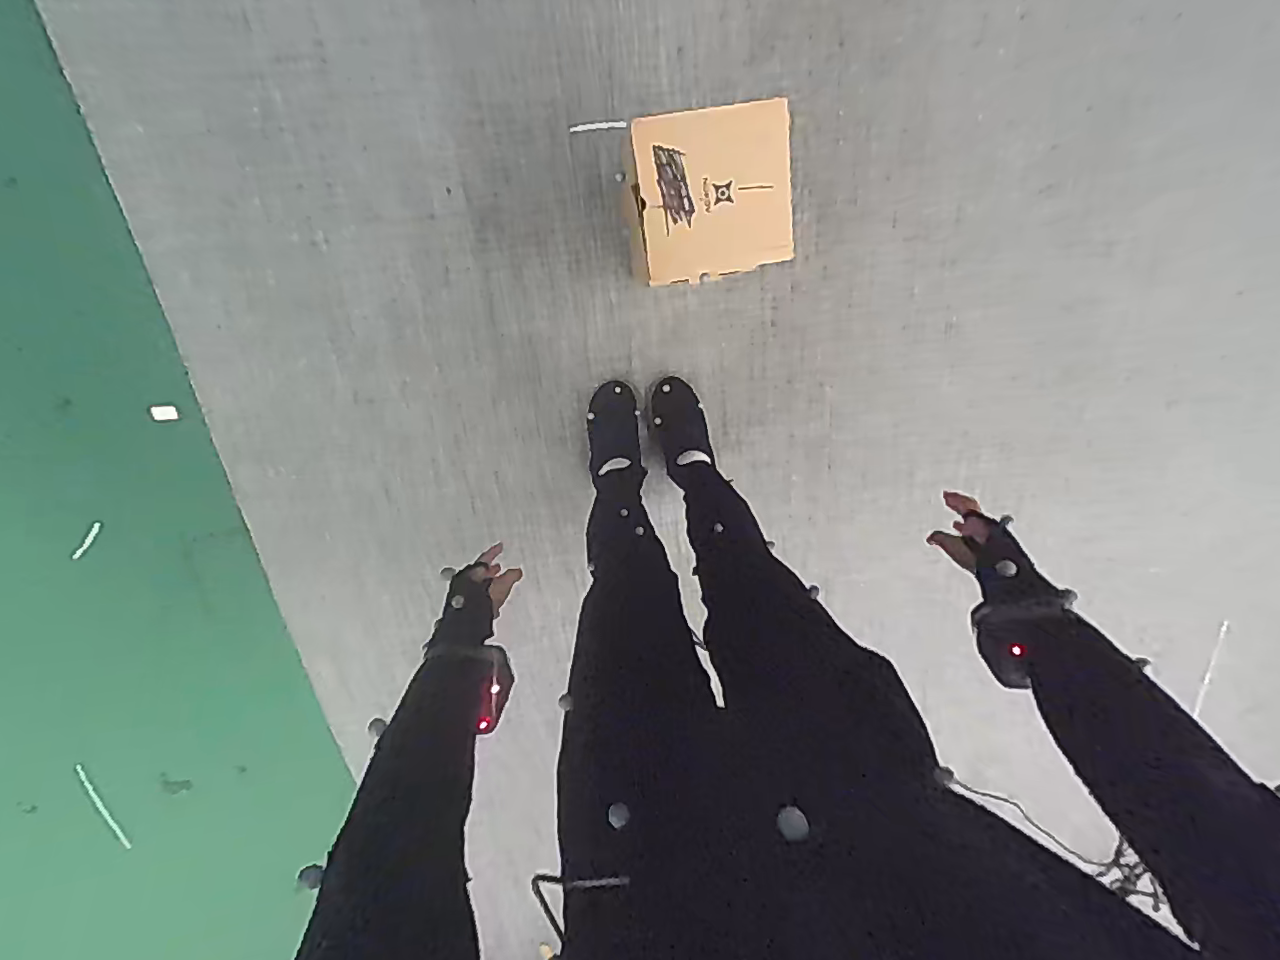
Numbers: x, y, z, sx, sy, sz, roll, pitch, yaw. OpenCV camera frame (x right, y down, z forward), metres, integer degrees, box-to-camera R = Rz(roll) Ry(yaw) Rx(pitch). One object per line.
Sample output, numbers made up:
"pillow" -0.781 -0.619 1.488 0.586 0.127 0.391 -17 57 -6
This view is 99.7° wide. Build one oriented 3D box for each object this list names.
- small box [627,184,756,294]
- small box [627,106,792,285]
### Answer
"small box" 0.075 -0.394 0.839 0.168 0.176 0.179 -9 111 -2
"small box" 0.078 -0.342 0.682 0.179 0.176 0.168 -9 110 -2
